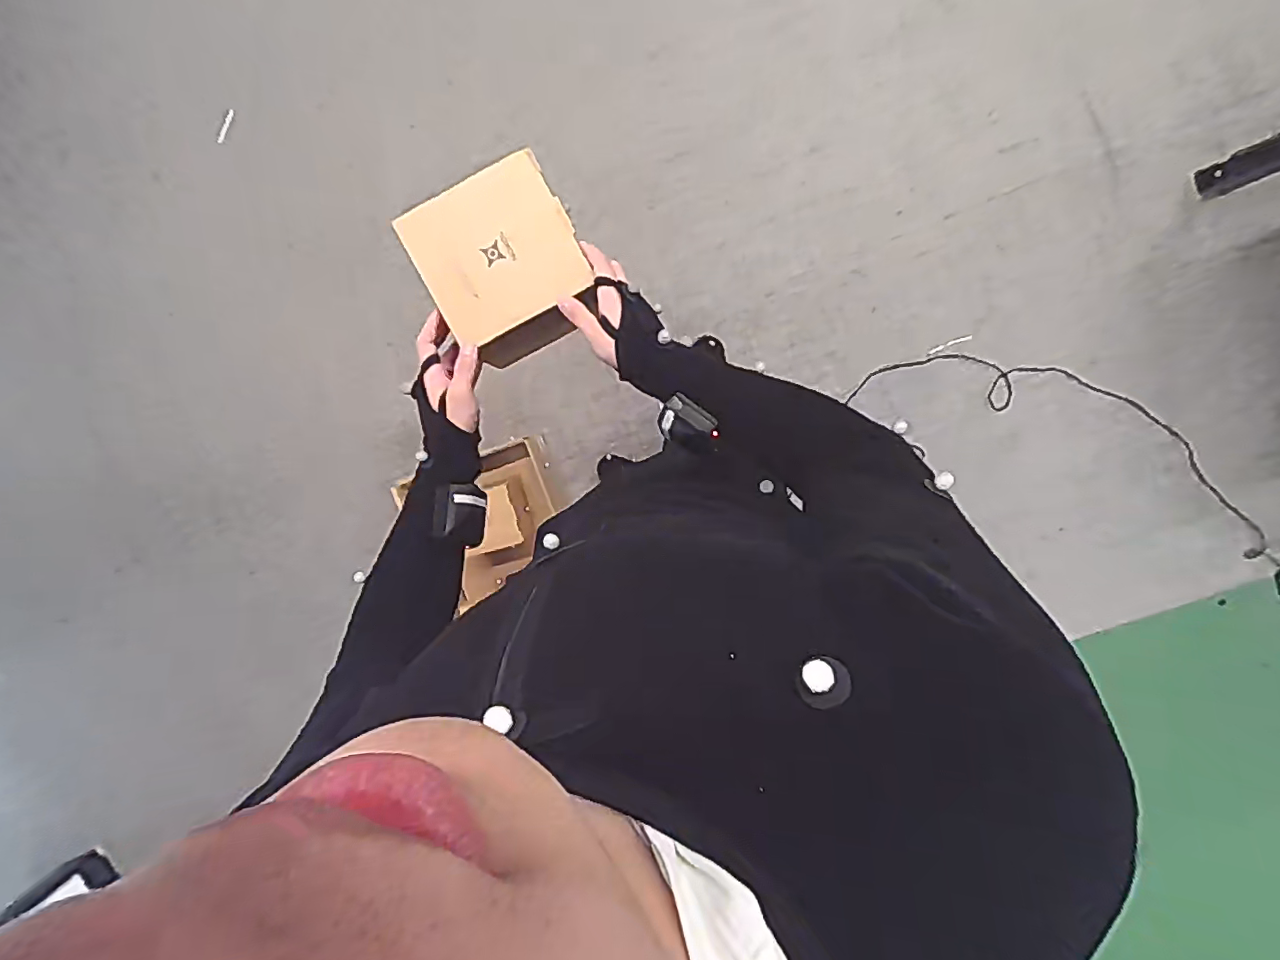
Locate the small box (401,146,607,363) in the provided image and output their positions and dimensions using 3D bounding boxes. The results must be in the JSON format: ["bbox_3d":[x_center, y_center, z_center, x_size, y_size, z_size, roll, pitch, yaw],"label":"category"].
[{"bbox_3d":[-0.152,-0.262,0.675,0.179,0.176,0.168,-27,95,2],"label":"small box"}]

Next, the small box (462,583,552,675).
[{"bbox_3d":[-0.333,0.372,1.385,0.168,0.176,0.179,-10,96,4],"label":"small box"}]
